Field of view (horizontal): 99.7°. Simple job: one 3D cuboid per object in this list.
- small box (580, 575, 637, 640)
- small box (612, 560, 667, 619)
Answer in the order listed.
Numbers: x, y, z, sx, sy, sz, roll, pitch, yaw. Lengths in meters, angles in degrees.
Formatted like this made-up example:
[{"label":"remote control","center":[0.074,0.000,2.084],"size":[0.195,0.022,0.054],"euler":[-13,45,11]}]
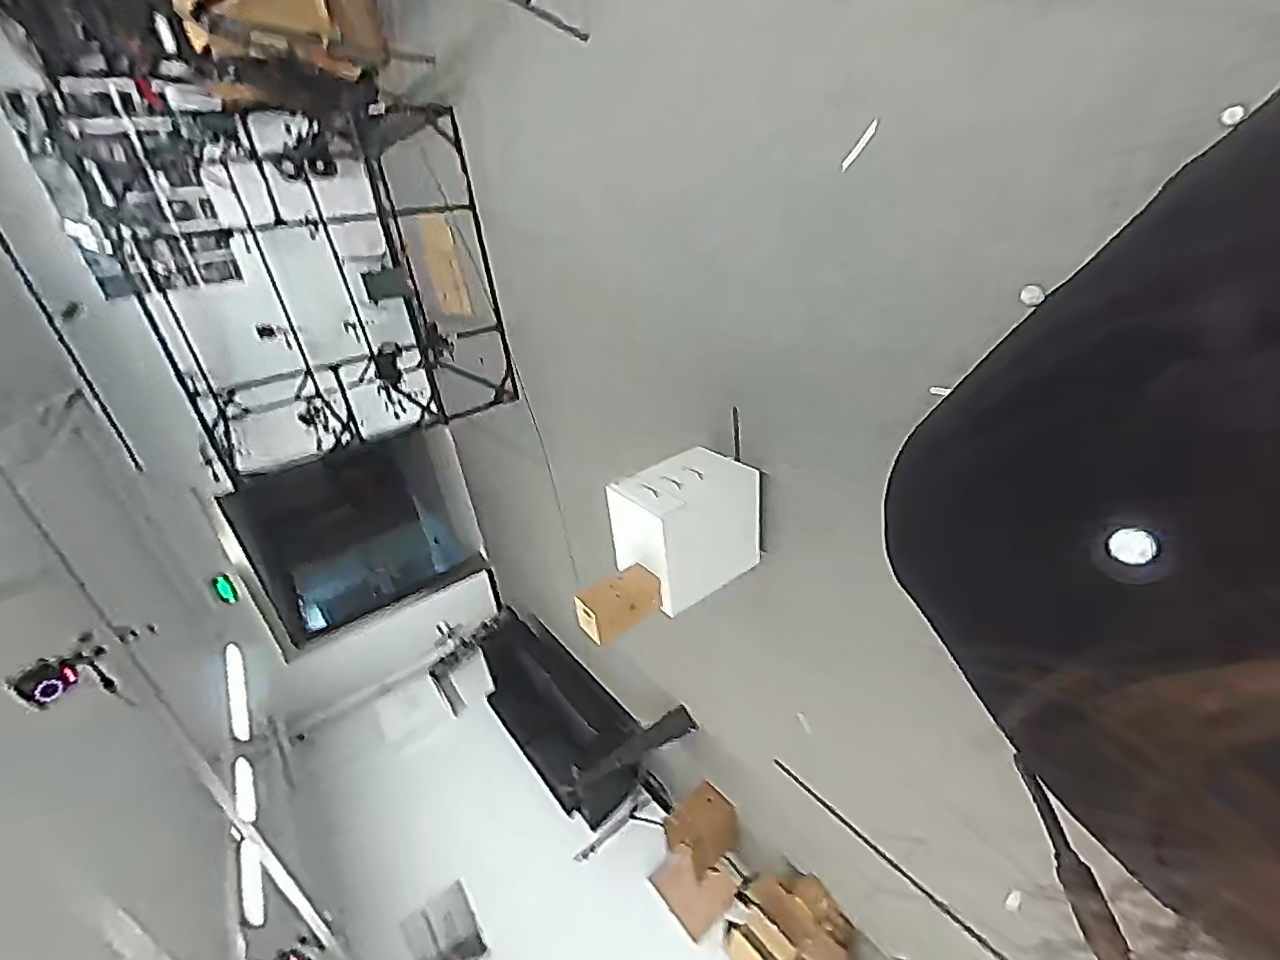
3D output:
[{"label":"small box","center":[-0.130,0.532,2.285],"size":[0.168,0.176,0.179],"euler":[30,136,49]},{"label":"small box","center":[0.000,0.471,2.367],"size":[0.179,0.176,0.168],"euler":[29,134,49]}]
